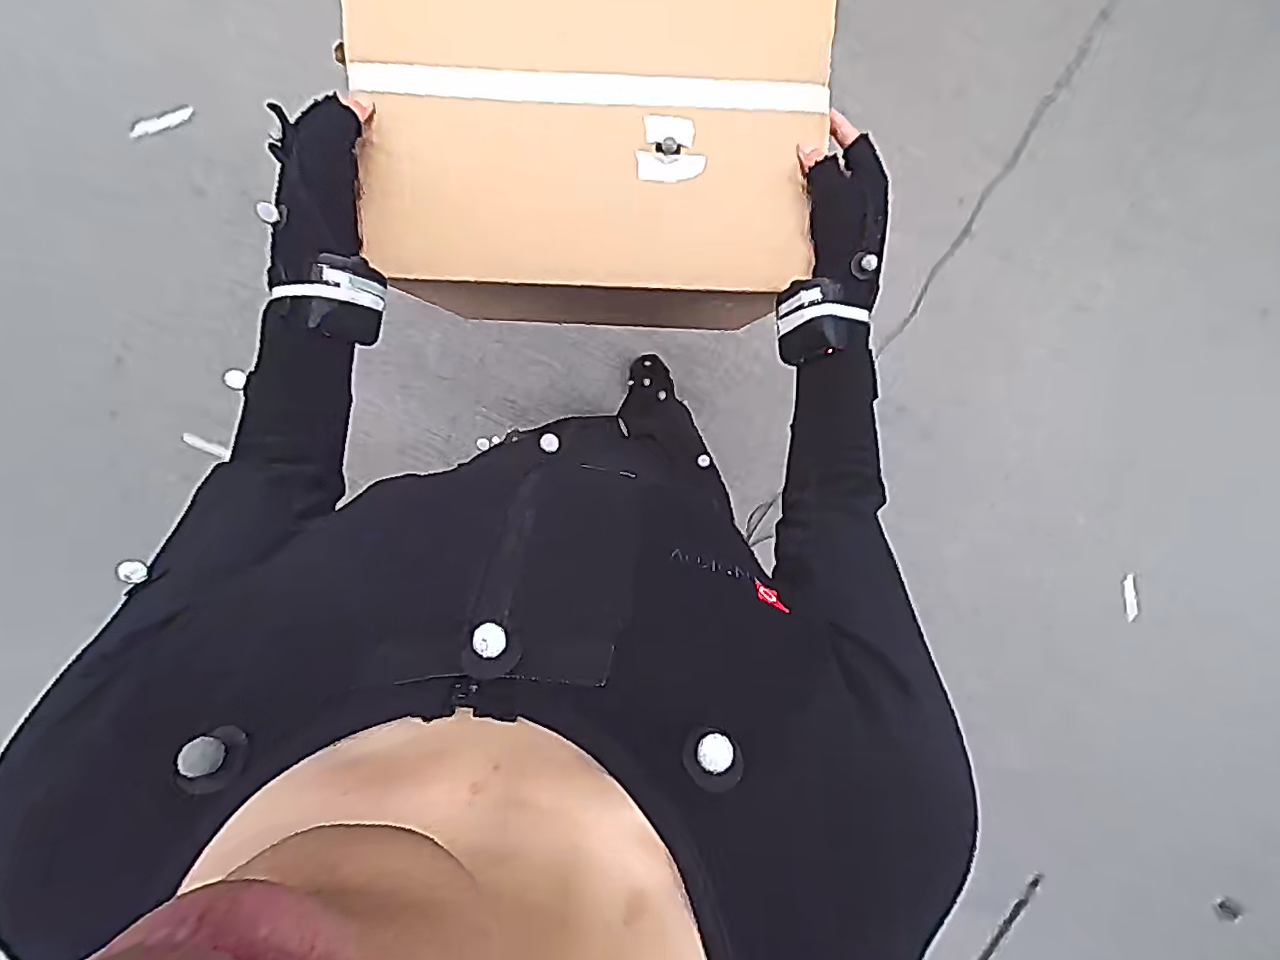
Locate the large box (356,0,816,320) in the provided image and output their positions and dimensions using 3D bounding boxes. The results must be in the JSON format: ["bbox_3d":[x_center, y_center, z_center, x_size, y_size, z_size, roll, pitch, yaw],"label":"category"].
[{"bbox_3d":[-0.051,-0.364,0.625,0.408,0.320,0.320,0,101,-3],"label":"large box"}]
